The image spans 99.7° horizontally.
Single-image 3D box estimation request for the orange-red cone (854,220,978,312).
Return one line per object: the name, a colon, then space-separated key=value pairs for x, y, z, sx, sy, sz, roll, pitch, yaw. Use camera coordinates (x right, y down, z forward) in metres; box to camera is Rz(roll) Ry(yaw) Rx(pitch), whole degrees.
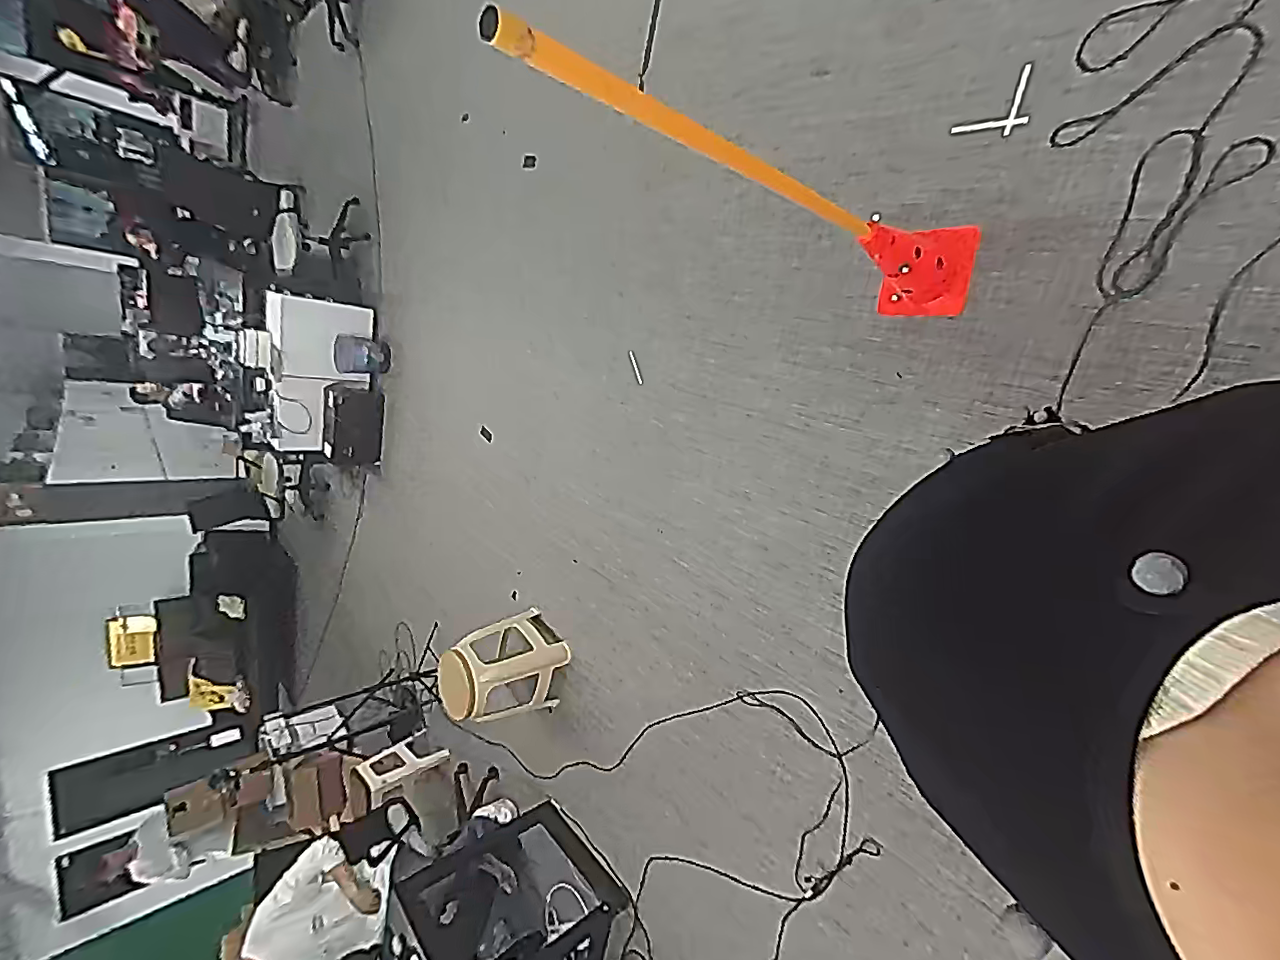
orange-red cone: x=0.555 y=-0.493 z=1.163 sx=0.199 sy=0.360 sz=0.198 roll=18 pitch=106 yaw=42
